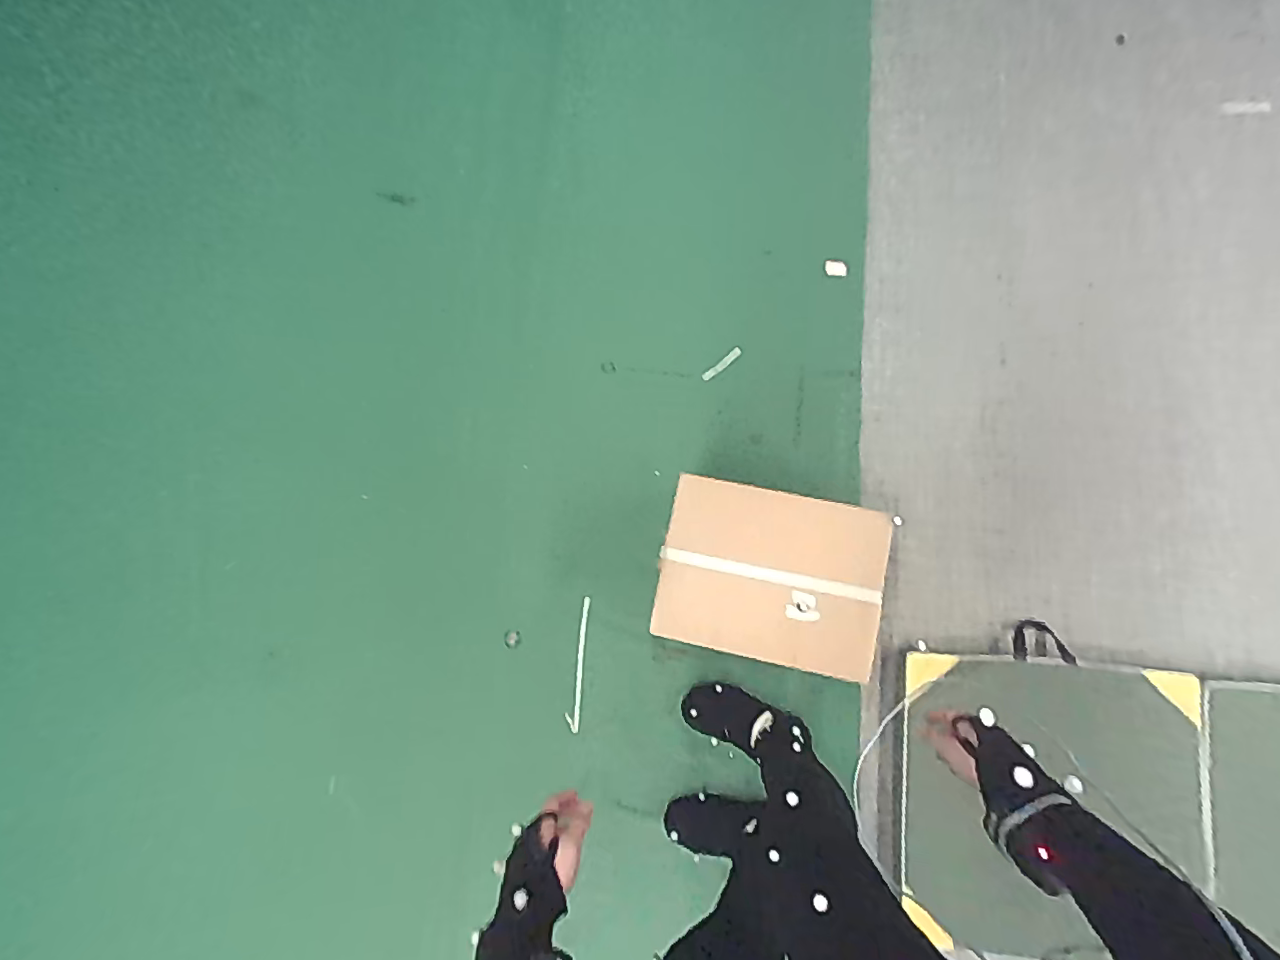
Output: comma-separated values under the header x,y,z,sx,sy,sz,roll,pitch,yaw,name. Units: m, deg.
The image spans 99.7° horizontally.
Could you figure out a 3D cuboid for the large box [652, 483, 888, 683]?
x,y,z,sx,sy,sz,roll,pitch,yaw,name
0.254,0.208,1.159,0.408,0.320,0.320,11,83,7,large box
